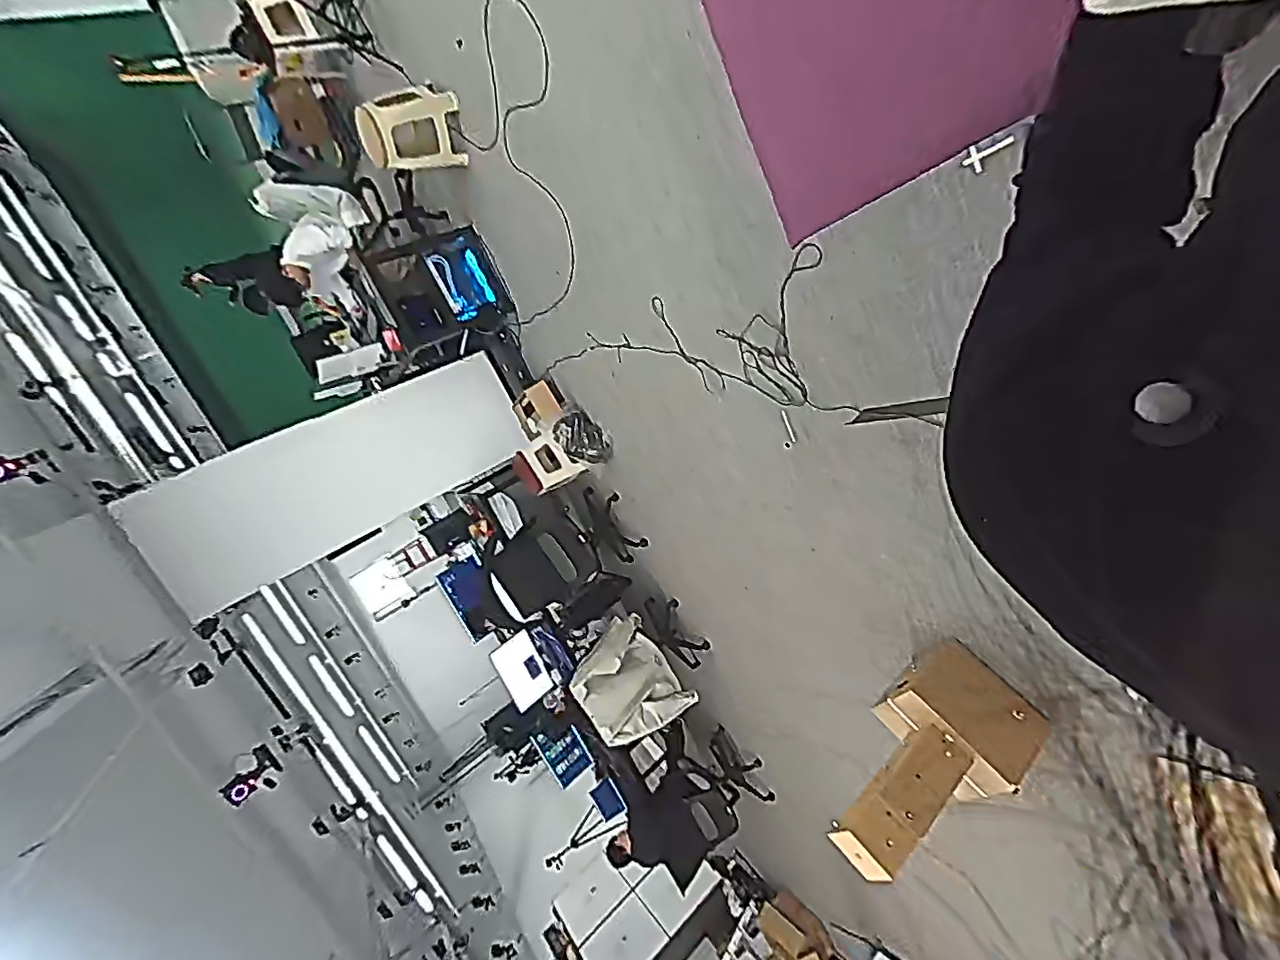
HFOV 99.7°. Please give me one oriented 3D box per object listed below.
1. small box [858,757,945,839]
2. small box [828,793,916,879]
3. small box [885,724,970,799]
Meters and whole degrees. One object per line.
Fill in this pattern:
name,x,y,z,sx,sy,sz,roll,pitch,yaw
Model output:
small box,0.871,1.060,1.801,0.168,0.176,0.179,45,151,23
small box,0.745,1.133,1.728,0.168,0.176,0.179,45,151,24
small box,0.996,0.980,1.871,0.168,0.176,0.179,45,150,24
